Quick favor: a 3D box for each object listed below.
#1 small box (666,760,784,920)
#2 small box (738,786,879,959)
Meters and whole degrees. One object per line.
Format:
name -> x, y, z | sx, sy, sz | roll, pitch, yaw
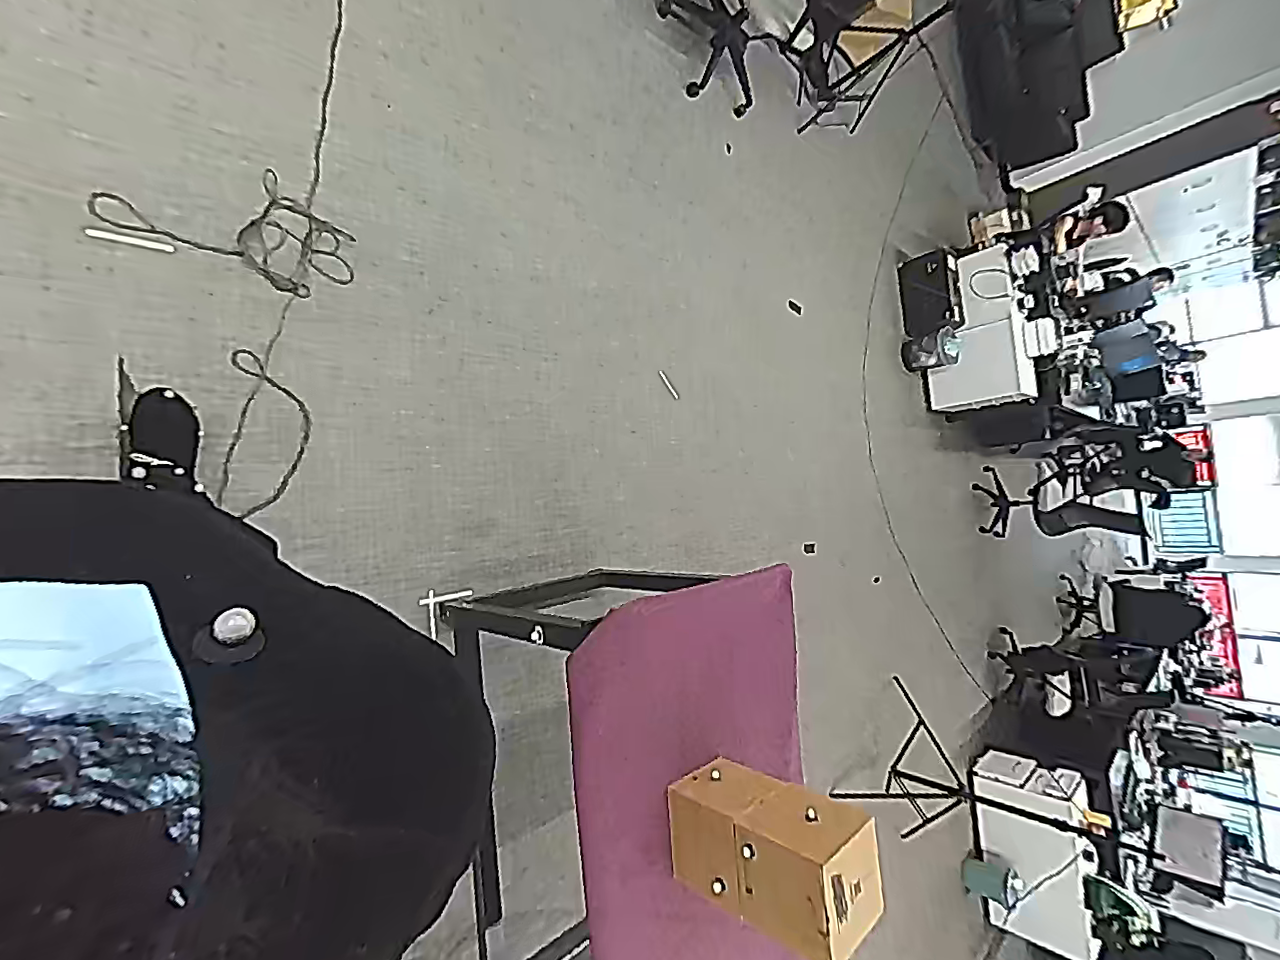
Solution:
small box -> 0.167, 0.676, 1.040 | 0.168, 0.176, 0.179 | -1, 85, -42
small box -> 0.281, 0.661, 0.923 | 0.179, 0.176, 0.168 | -3, 87, -43
